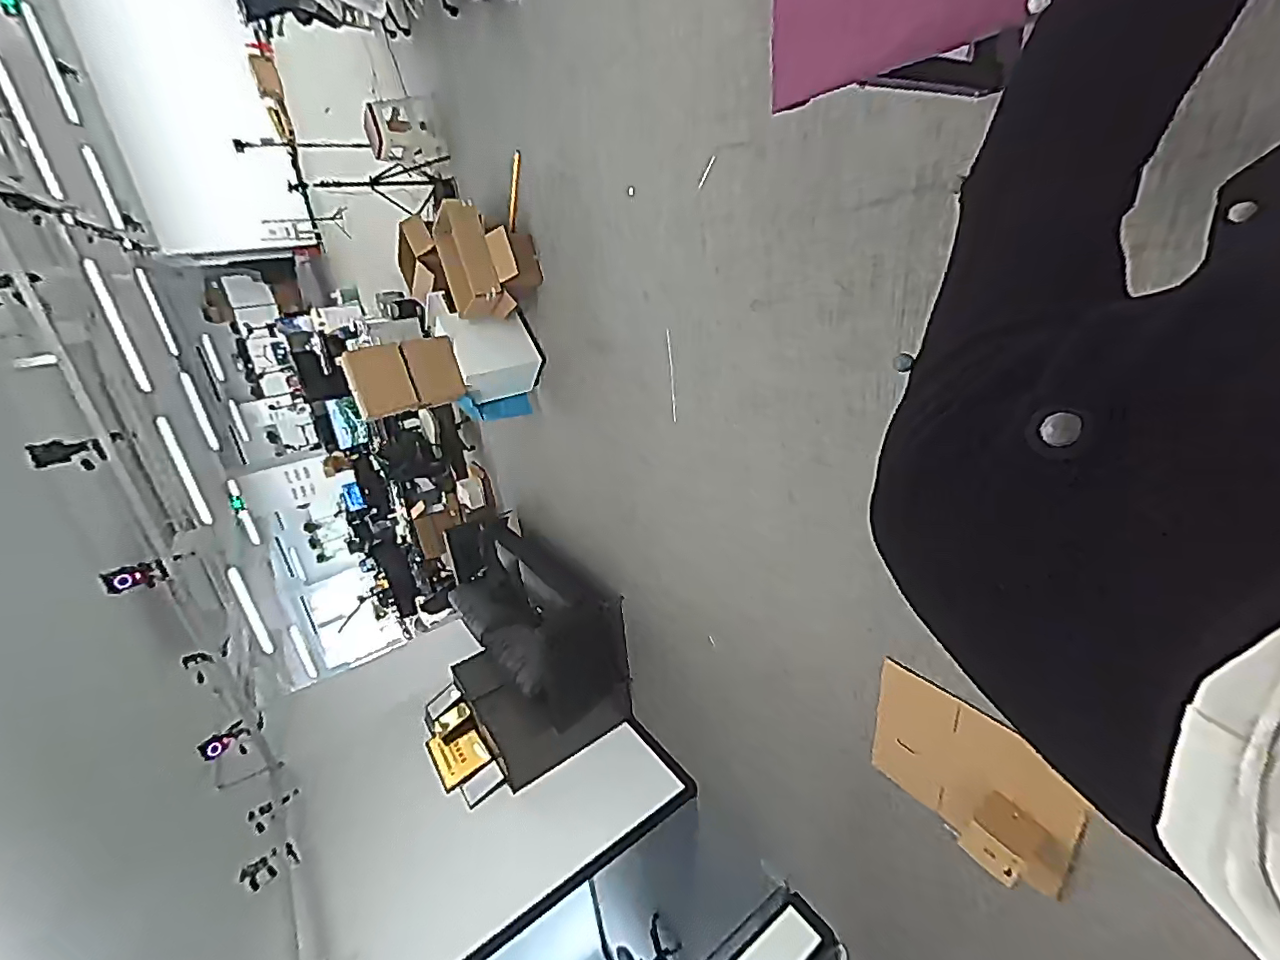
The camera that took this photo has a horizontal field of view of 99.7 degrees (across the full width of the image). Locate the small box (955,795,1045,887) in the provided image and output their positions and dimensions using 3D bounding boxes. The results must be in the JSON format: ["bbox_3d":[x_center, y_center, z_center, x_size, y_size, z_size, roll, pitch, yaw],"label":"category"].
[{"bbox_3d":[1.225,1.216,1.841,0.179,0.176,0.168,35,135,44],"label":"small box"}]
